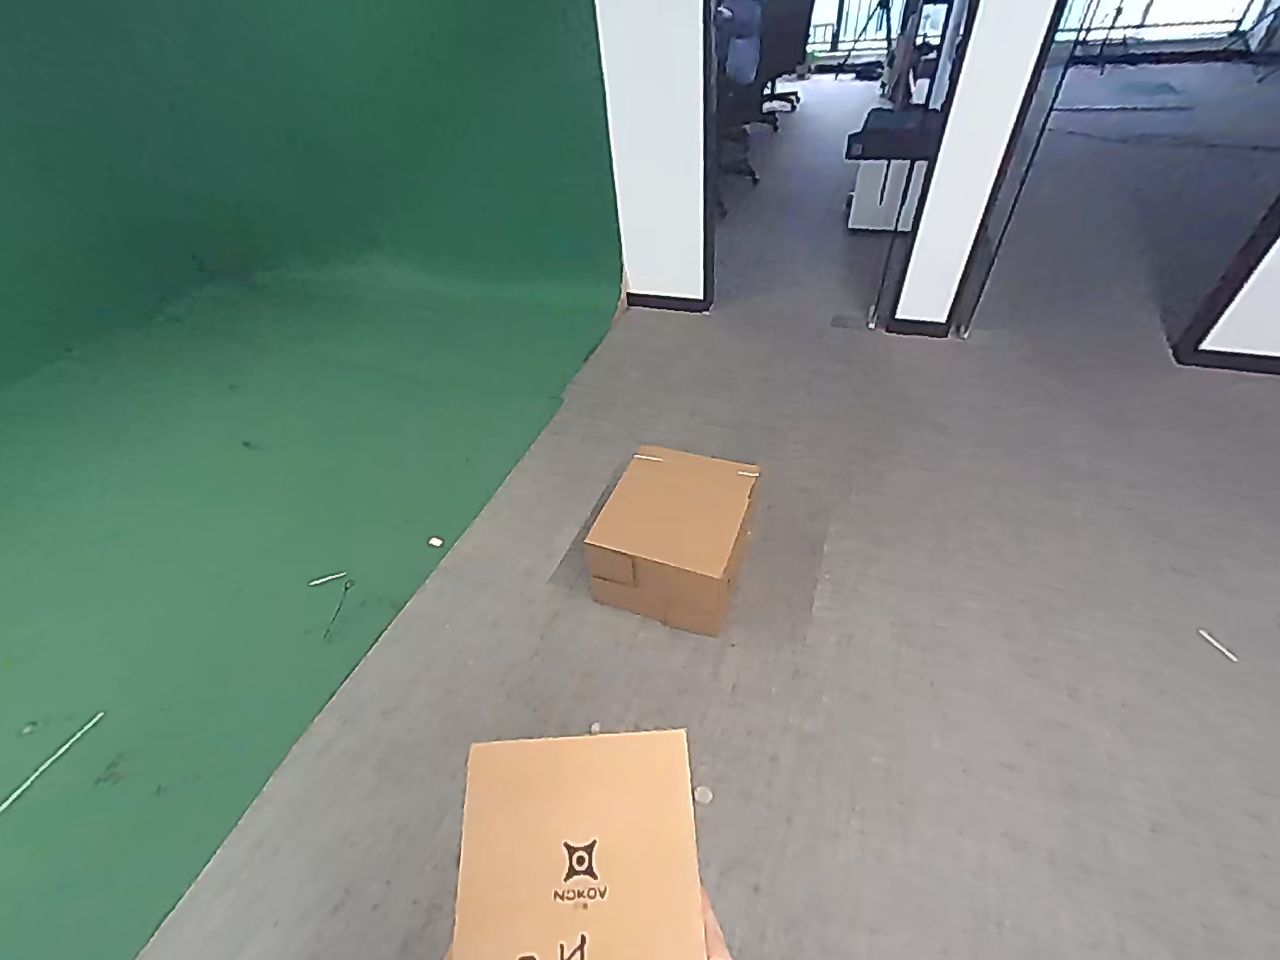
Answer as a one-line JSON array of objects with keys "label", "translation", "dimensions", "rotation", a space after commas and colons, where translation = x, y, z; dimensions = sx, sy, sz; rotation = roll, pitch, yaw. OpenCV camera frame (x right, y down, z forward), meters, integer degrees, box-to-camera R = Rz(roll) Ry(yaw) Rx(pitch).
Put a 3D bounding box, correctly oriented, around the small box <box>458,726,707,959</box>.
[{"label": "small box", "translation": [-0.040, 0.309, 0.446], "dimensions": [0.168, 0.176, 0.179], "rotation": [-3, 61, -1]}]
